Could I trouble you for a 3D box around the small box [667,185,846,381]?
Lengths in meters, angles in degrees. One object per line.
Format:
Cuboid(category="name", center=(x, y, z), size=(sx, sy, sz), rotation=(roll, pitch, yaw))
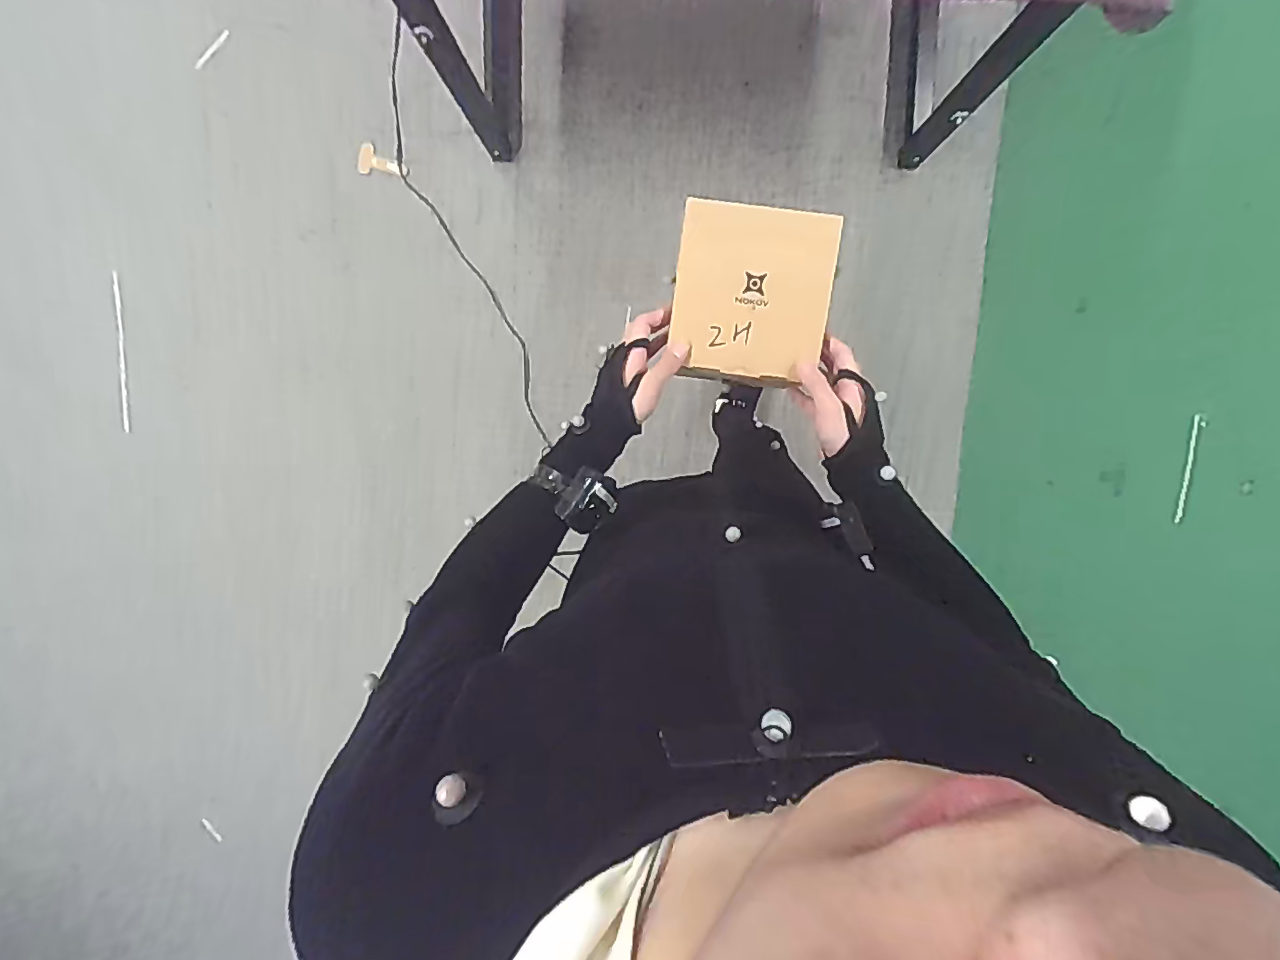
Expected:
Cuboid(category="small box", center=(0.124, -0.220, 0.648), size=(0.168, 0.176, 0.179), rotation=(8, 98, 1))
